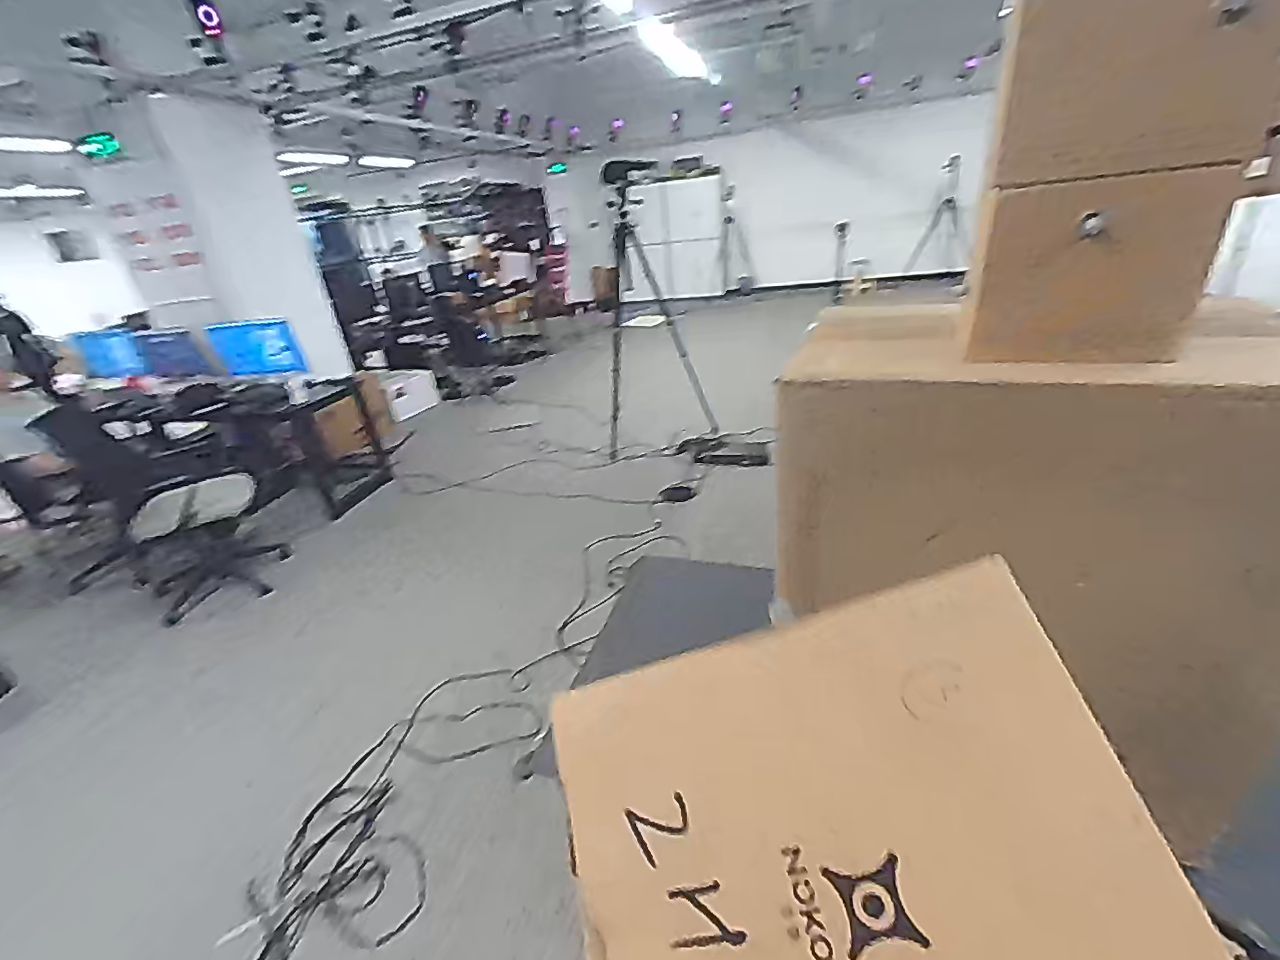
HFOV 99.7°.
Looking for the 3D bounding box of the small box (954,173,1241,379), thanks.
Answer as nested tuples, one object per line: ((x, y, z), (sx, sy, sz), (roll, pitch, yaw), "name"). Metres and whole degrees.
((0.443, -0.209, 0.564), (0.179, 0.176, 0.168), (6, 31, 24), "small box")

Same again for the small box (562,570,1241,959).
((0.091, 0.155, 0.235), (0.179, 0.176, 0.168), (-21, 63, 12), "small box")
